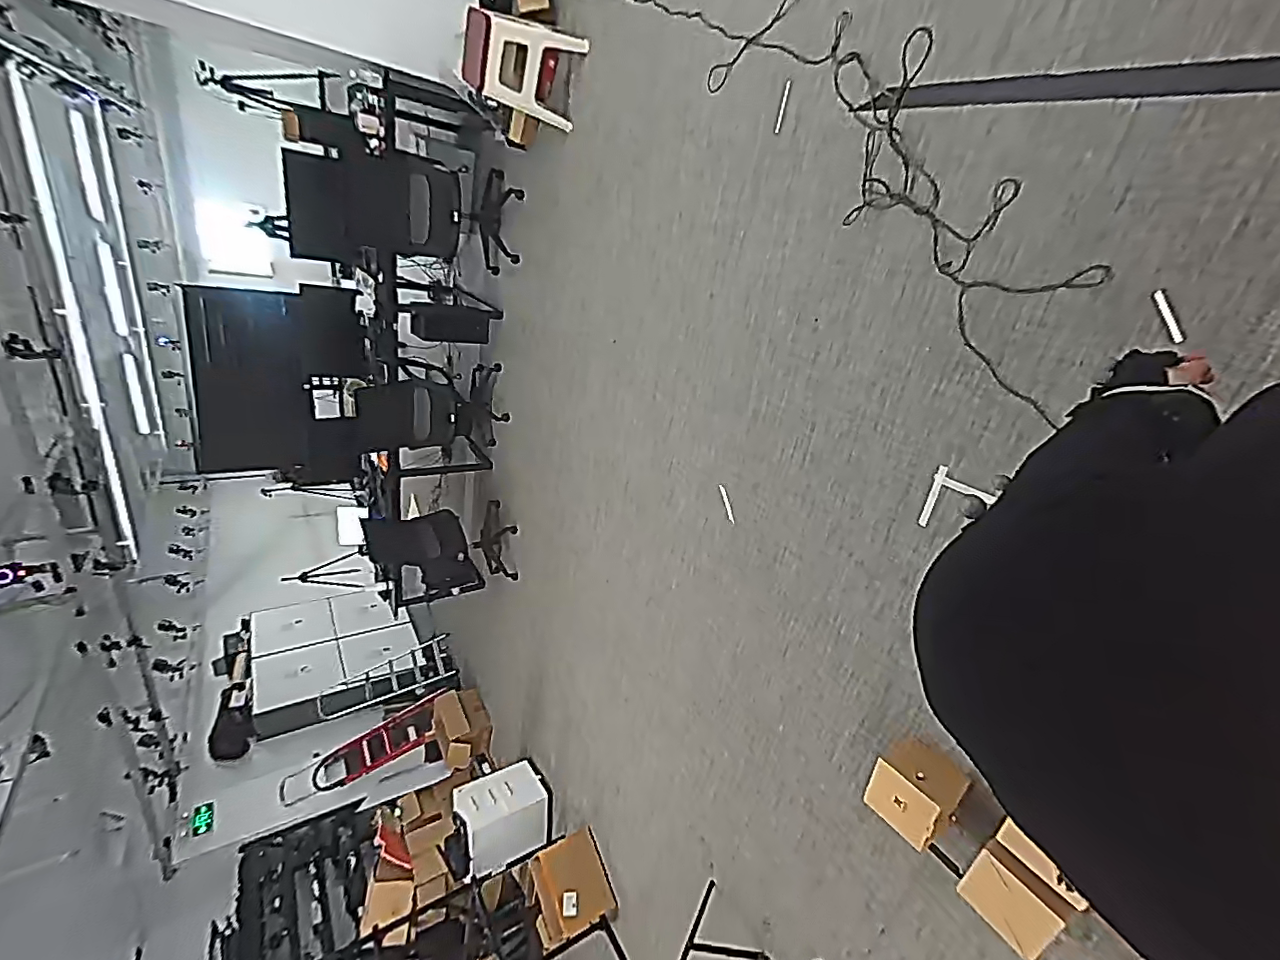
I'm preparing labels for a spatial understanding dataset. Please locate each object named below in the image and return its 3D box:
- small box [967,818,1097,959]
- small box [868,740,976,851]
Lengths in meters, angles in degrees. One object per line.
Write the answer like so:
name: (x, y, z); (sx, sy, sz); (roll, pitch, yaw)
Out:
small box: (0.903, 0.951, 1.261); (0.179, 0.176, 0.168); (40, 128, 46)
small box: (0.759, 0.838, 1.462); (0.179, 0.176, 0.168); (33, 122, 48)
